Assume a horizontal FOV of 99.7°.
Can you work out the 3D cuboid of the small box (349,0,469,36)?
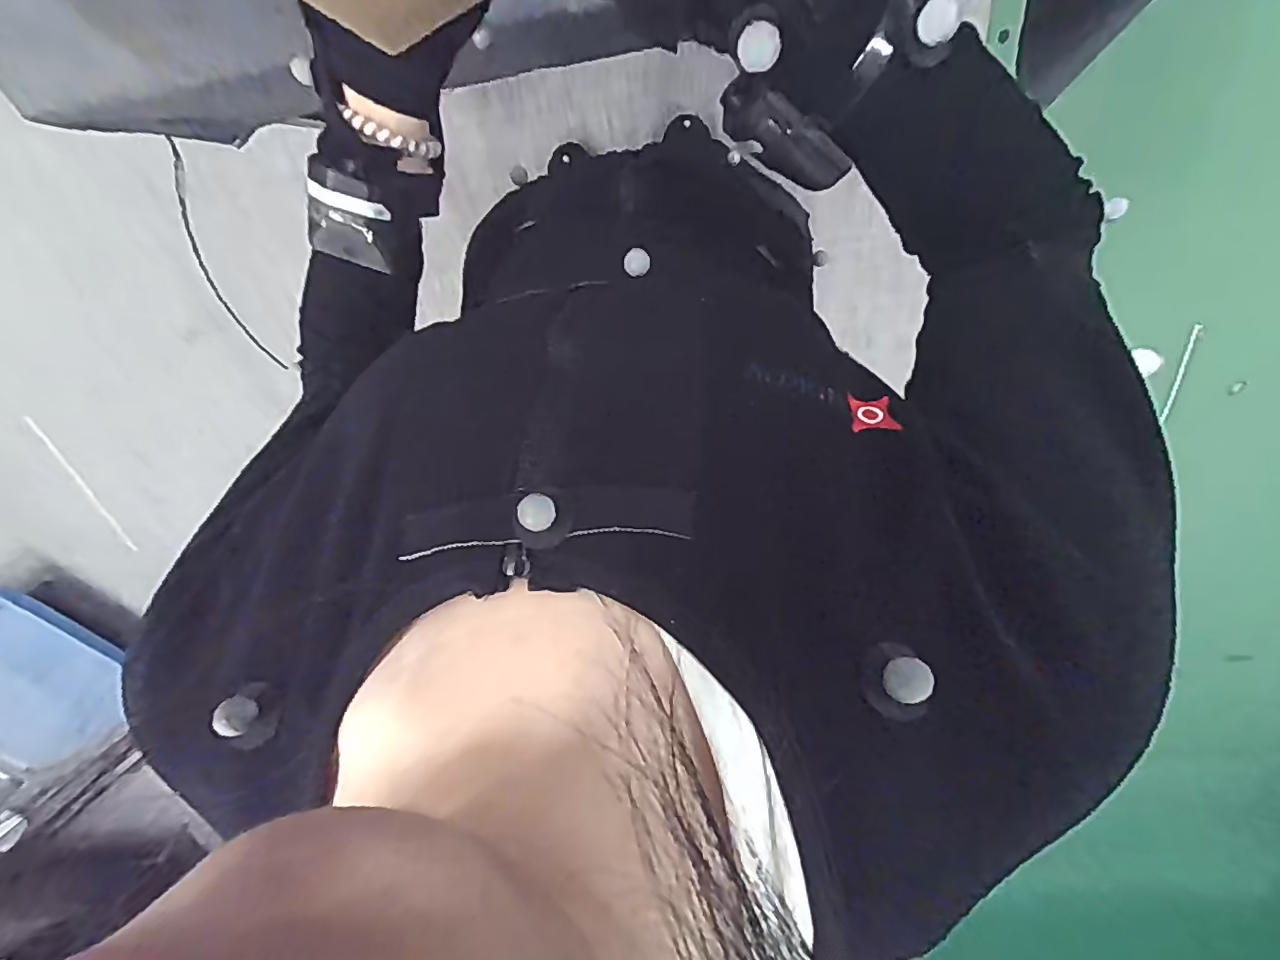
[{"bbox_3d":[-0.102,-0.305,0.178,0.168,0.176,0.179,-21,113,12],"label":"small box"}]
